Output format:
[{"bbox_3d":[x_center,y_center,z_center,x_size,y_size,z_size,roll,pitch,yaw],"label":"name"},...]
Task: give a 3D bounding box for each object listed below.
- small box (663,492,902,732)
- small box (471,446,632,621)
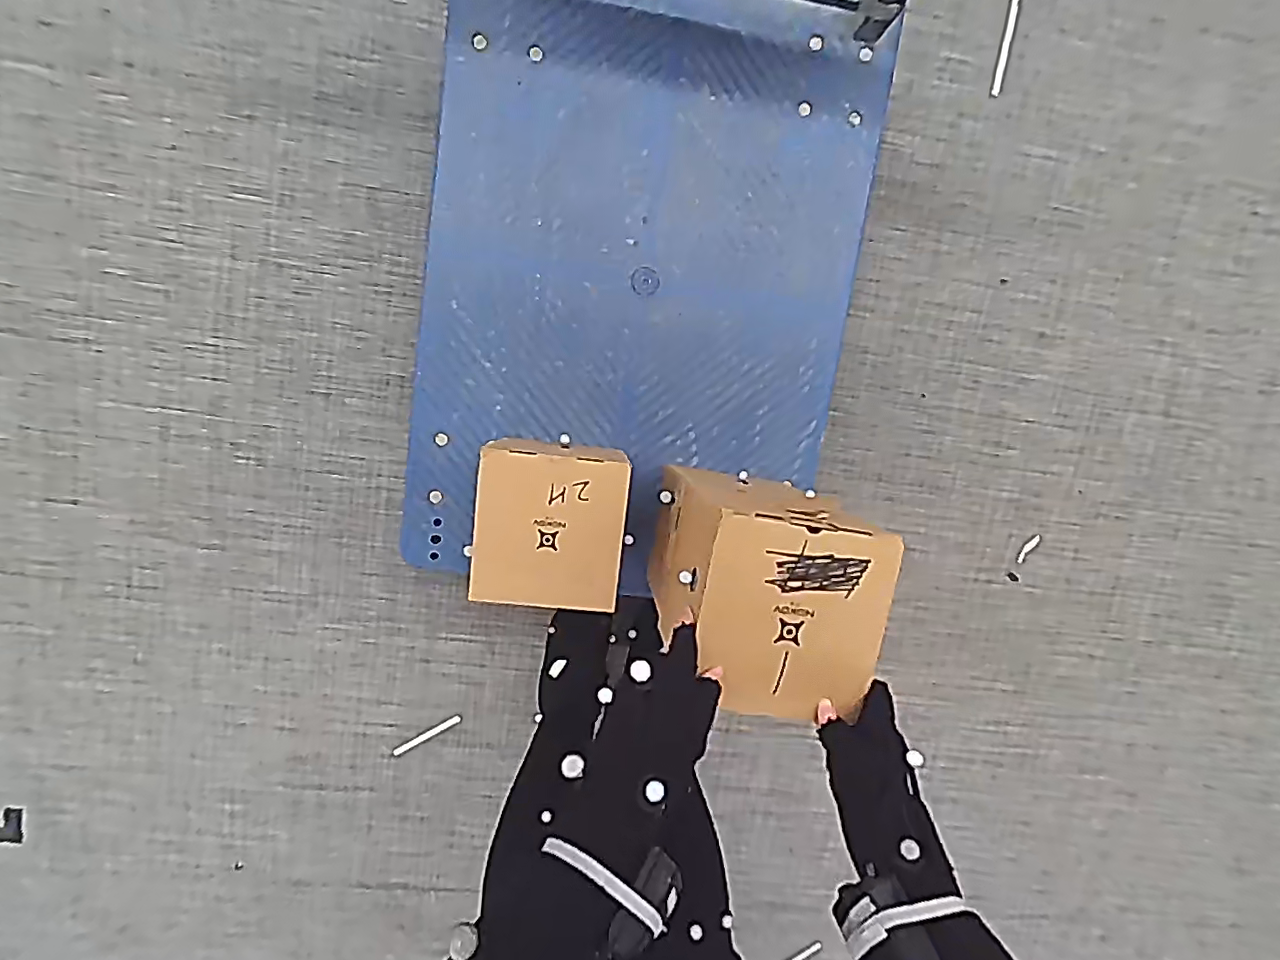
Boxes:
[{"bbox_3d":[0.124,0.116,0.541,0.168,0.176,0.179,10,97,-6],"label":"small box"},{"bbox_3d":[-0.105,0.057,0.682,0.168,0.176,0.179,6,97,-6],"label":"small box"}]
